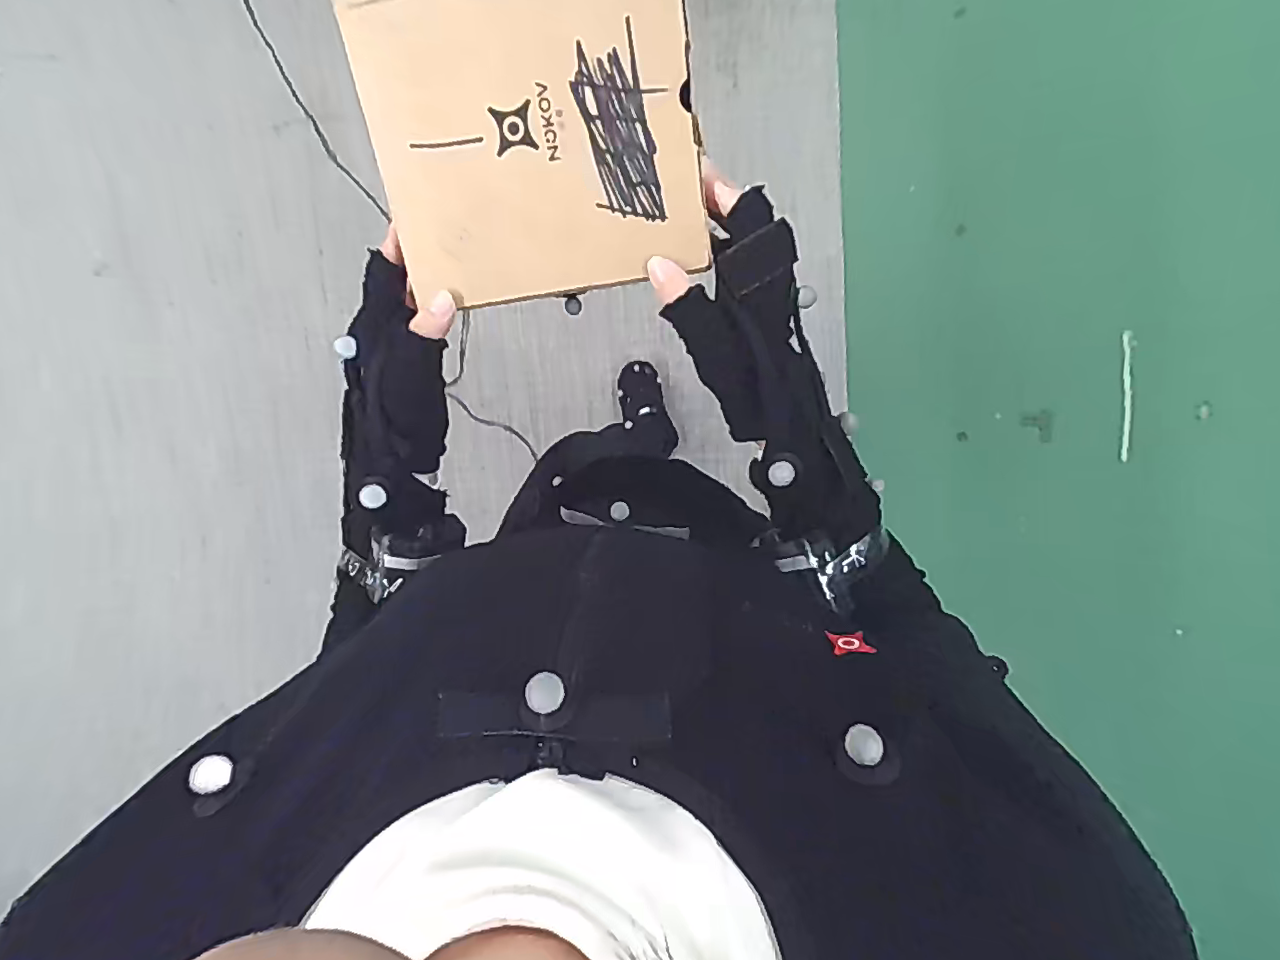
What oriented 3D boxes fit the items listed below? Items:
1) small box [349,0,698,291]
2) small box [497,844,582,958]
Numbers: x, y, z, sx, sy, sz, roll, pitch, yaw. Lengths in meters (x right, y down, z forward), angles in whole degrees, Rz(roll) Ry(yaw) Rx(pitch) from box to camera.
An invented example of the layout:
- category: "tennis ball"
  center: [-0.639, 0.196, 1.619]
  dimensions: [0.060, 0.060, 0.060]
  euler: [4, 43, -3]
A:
- category: "small box"
  center: [-0.056, -0.231, 0.377]
  dimensions: [0.179, 0.176, 0.168]
  euler: [-6, 110, 7]
- category: "small box"
  center: [-0.252, 1.070, 1.391]
  dimensions: [0.168, 0.176, 0.179]
  euler: [-7, 96, 5]
